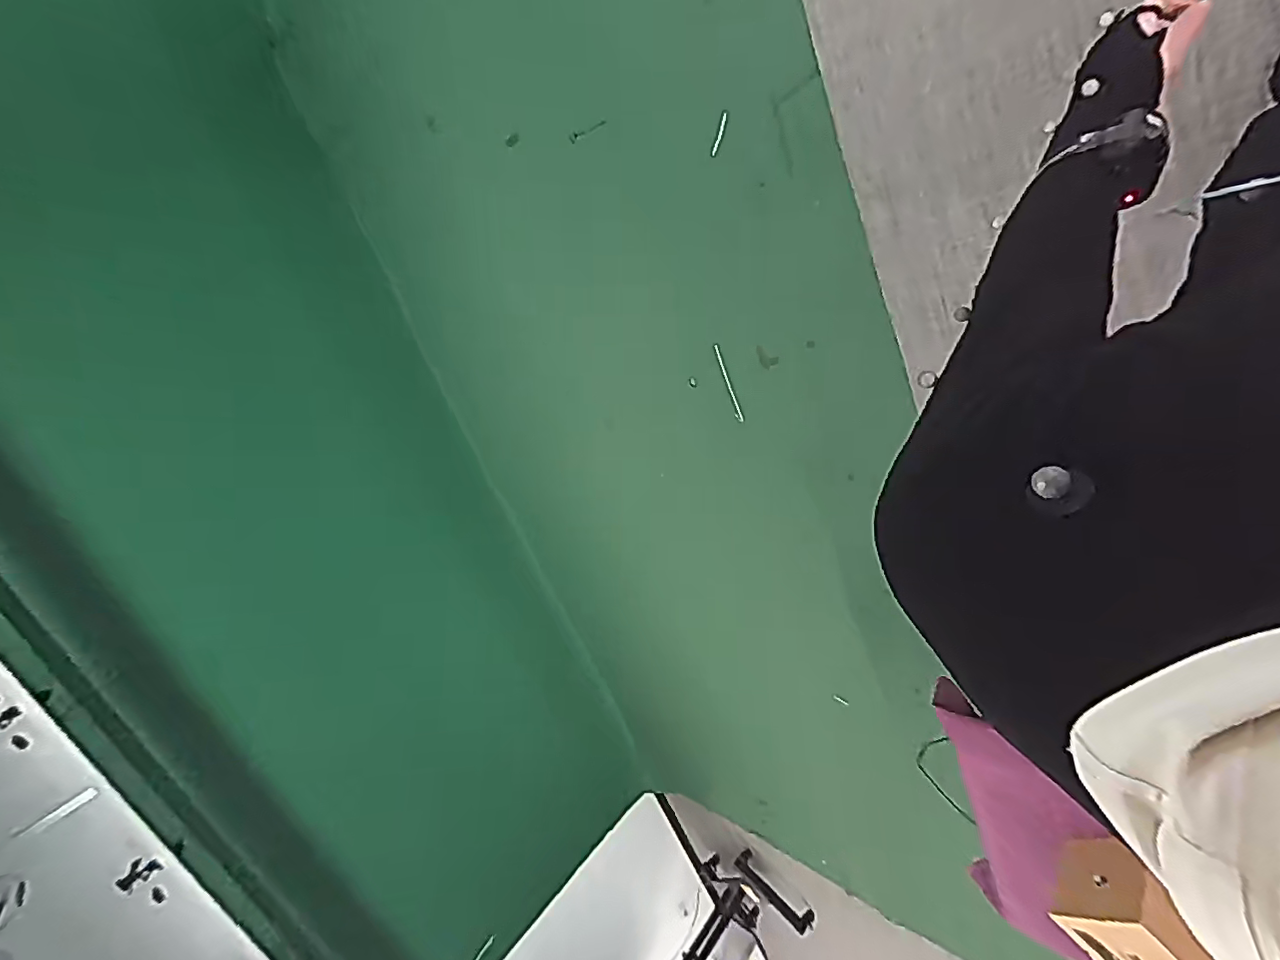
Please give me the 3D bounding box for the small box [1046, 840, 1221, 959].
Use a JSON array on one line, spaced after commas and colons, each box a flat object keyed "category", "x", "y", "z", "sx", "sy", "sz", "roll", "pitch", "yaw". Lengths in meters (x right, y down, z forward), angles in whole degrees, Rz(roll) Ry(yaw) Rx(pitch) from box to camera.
[{"category": "small box", "x": 0.905, "y": 0.797, "z": 0.991, "sx": 0.168, "sy": 0.176, "sz": 0.179, "roll": 45, "pitch": 142, "yaw": 12}]
